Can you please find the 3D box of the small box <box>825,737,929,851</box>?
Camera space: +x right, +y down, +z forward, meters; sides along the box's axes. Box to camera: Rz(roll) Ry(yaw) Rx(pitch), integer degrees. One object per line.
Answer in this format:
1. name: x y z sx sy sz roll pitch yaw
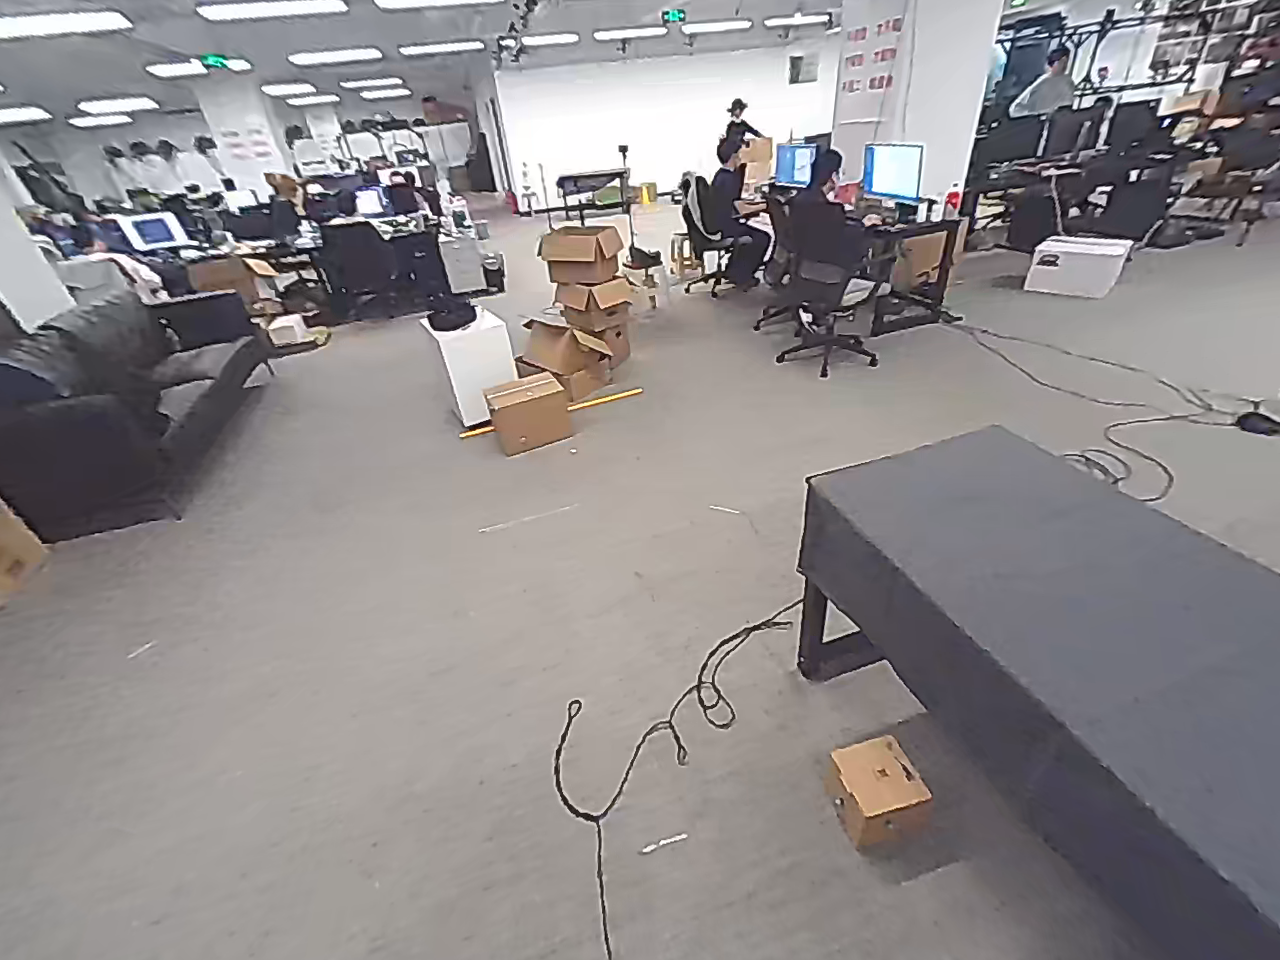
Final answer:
1. small box: 0.575 0.780 1.341 0.179 0.176 0.168 -11 33 -8
